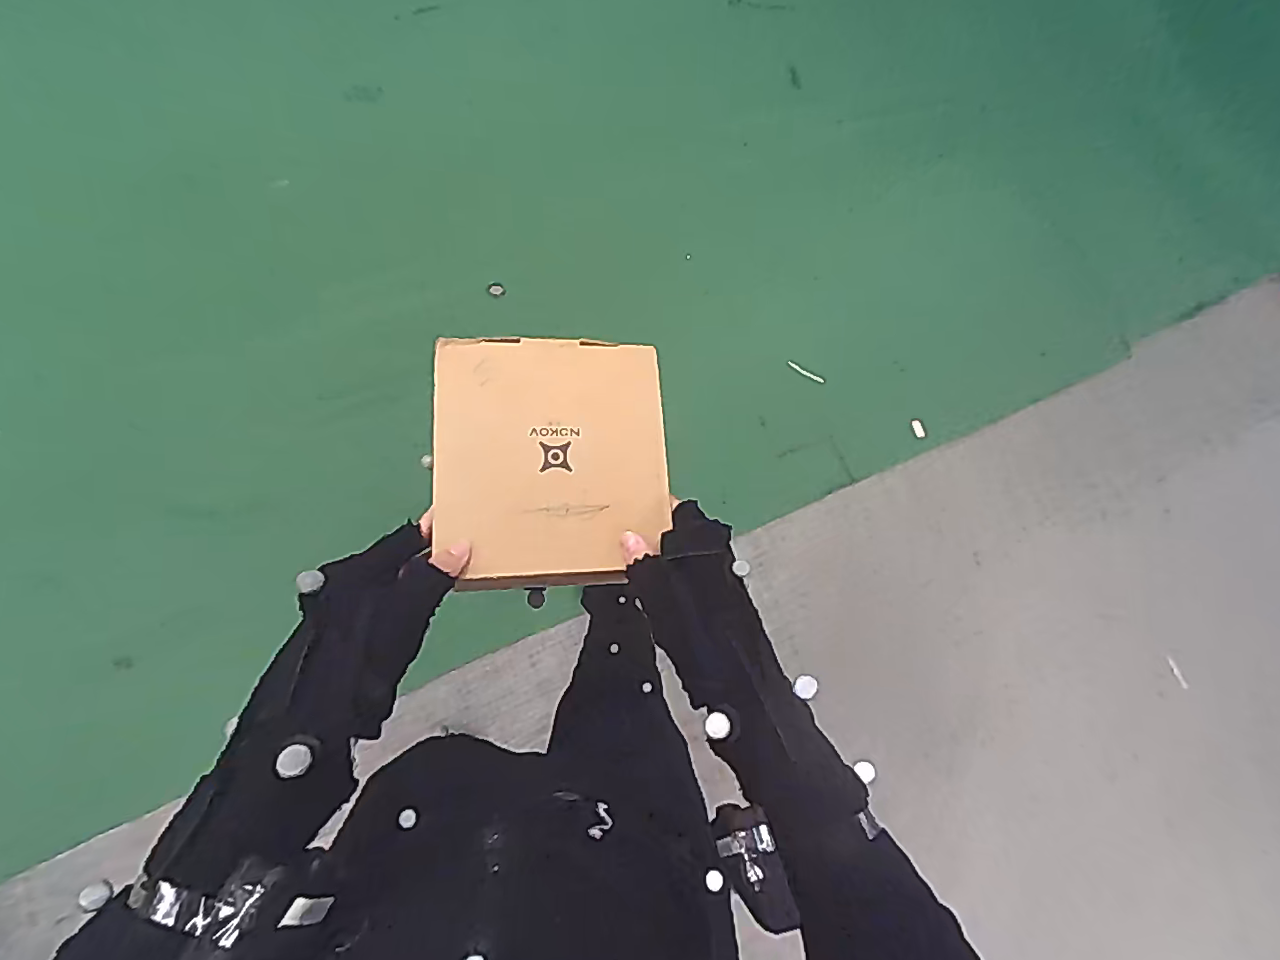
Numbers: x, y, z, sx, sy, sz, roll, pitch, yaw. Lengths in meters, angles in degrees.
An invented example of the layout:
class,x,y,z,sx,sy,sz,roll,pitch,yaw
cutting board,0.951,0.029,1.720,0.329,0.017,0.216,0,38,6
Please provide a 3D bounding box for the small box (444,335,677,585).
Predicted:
class,x,y,z,sx,sy,sz,roll,pitch,yaw
small box,-0.076,-0.006,0.473,0.168,0.176,0.179,-2,77,-13
